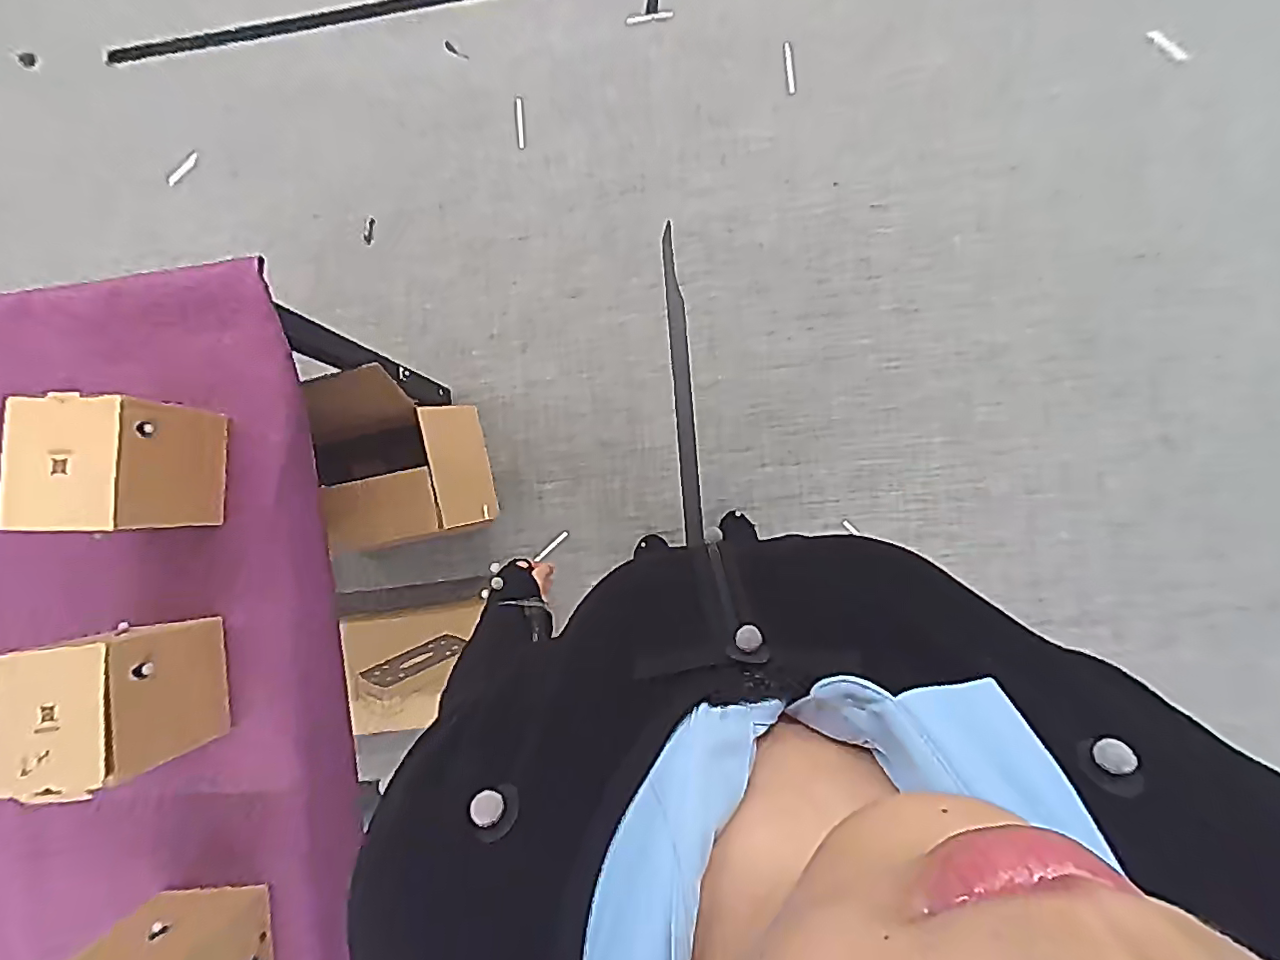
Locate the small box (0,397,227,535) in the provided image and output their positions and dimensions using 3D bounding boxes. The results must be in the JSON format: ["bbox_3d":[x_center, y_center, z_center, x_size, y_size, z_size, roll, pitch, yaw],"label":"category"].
[{"bbox_3d":[-0.730,-0.015,0.766,0.168,0.176,0.179,-1,86,5],"label":"small box"}]

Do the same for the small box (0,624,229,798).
[{"bbox_3d":[-0.712,0.302,0.745,0.168,0.176,0.179,-8,86,7],"label":"small box"}]
